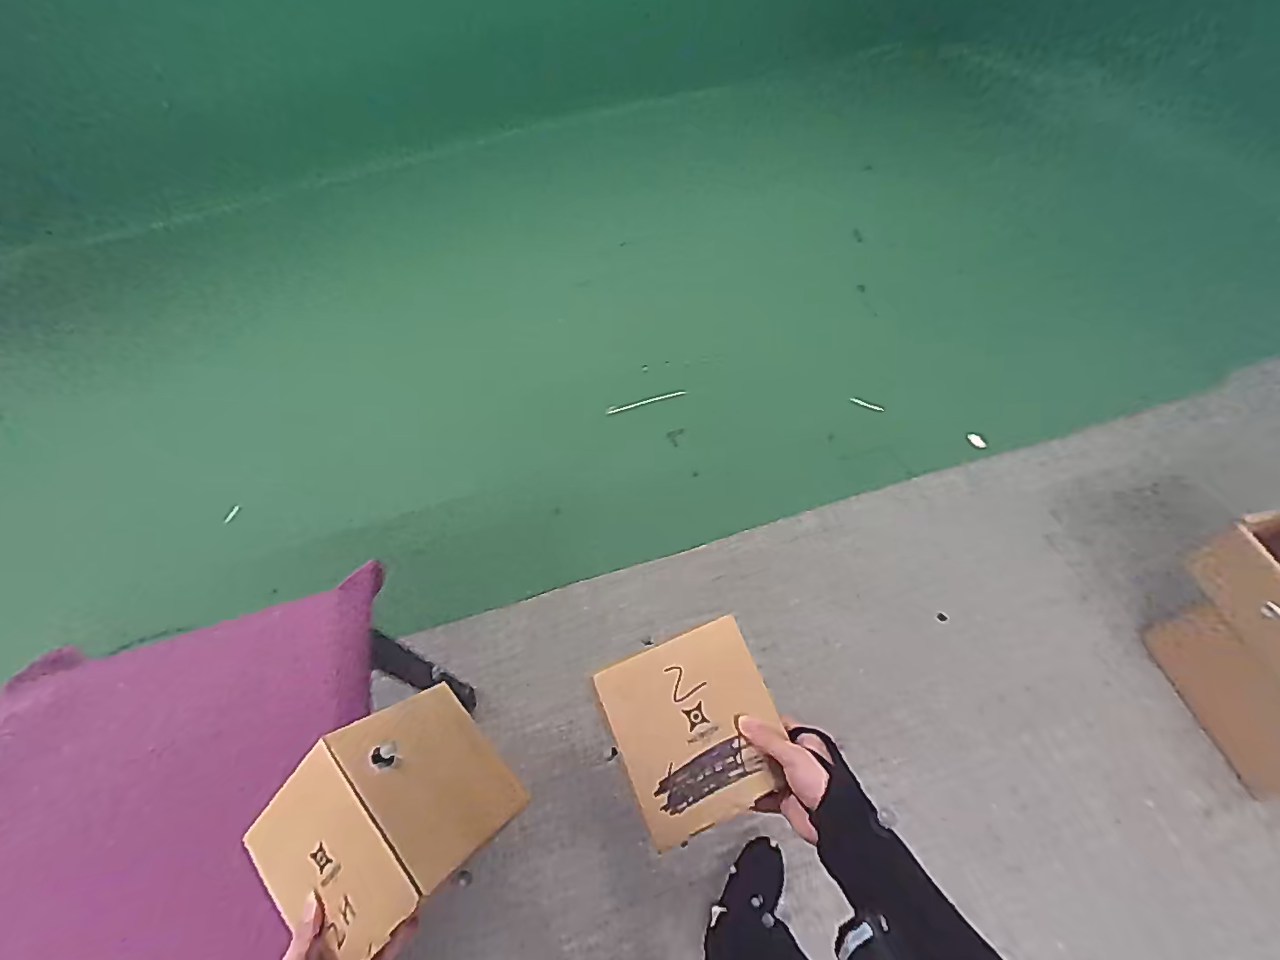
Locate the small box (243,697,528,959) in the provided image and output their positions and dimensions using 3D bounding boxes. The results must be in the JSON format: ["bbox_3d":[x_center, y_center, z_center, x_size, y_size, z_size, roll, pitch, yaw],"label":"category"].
[{"bbox_3d":[-0.257,0.356,0.568,0.179,0.176,0.168,46,104,17],"label":"small box"}]
